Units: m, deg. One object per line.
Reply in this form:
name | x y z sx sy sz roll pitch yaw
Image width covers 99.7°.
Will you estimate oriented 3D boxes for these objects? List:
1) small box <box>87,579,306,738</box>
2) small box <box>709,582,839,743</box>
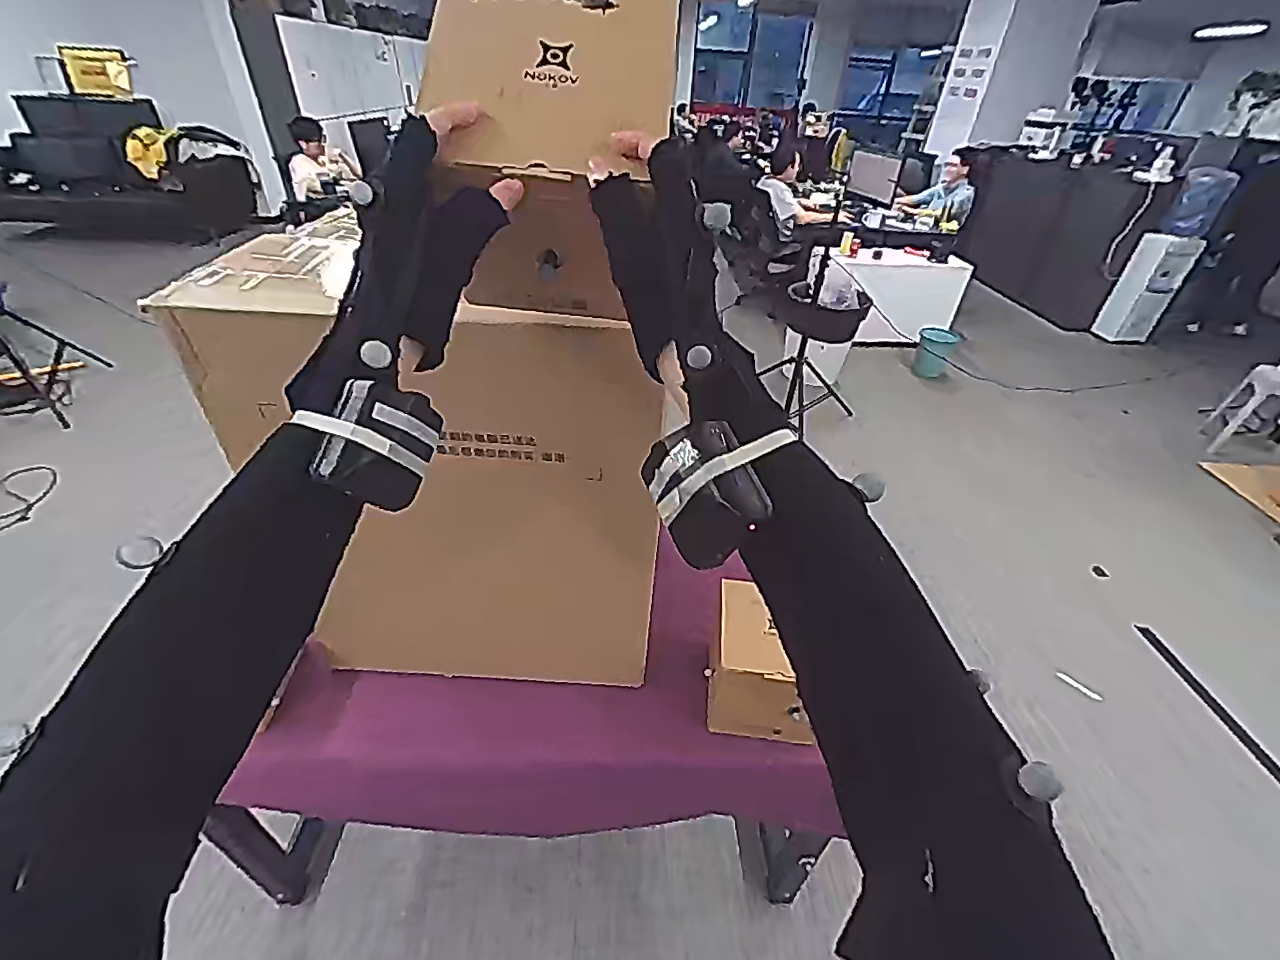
small box | -0.645 0.269 0.820 0.179 0.176 0.168 0 35 -7
small box | 0.203 0.292 0.866 0.168 0.176 0.179 6 35 3
